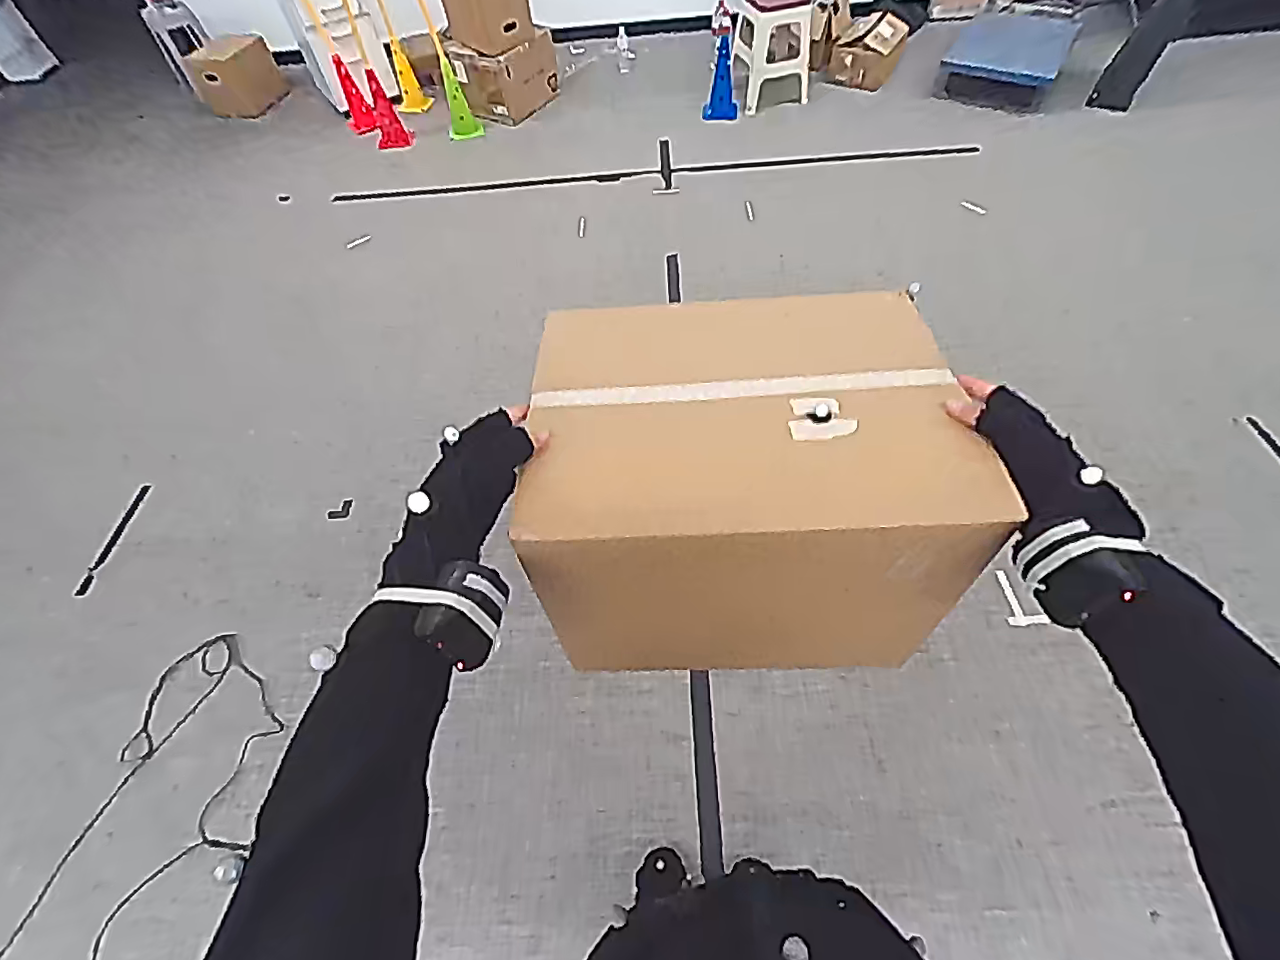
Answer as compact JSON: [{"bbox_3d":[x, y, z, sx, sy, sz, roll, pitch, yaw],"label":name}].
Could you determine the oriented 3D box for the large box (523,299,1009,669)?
[{"bbox_3d":[0.105,0.016,0.645,0.408,0.320,0.320,-3,52,3],"label":"large box"}]
